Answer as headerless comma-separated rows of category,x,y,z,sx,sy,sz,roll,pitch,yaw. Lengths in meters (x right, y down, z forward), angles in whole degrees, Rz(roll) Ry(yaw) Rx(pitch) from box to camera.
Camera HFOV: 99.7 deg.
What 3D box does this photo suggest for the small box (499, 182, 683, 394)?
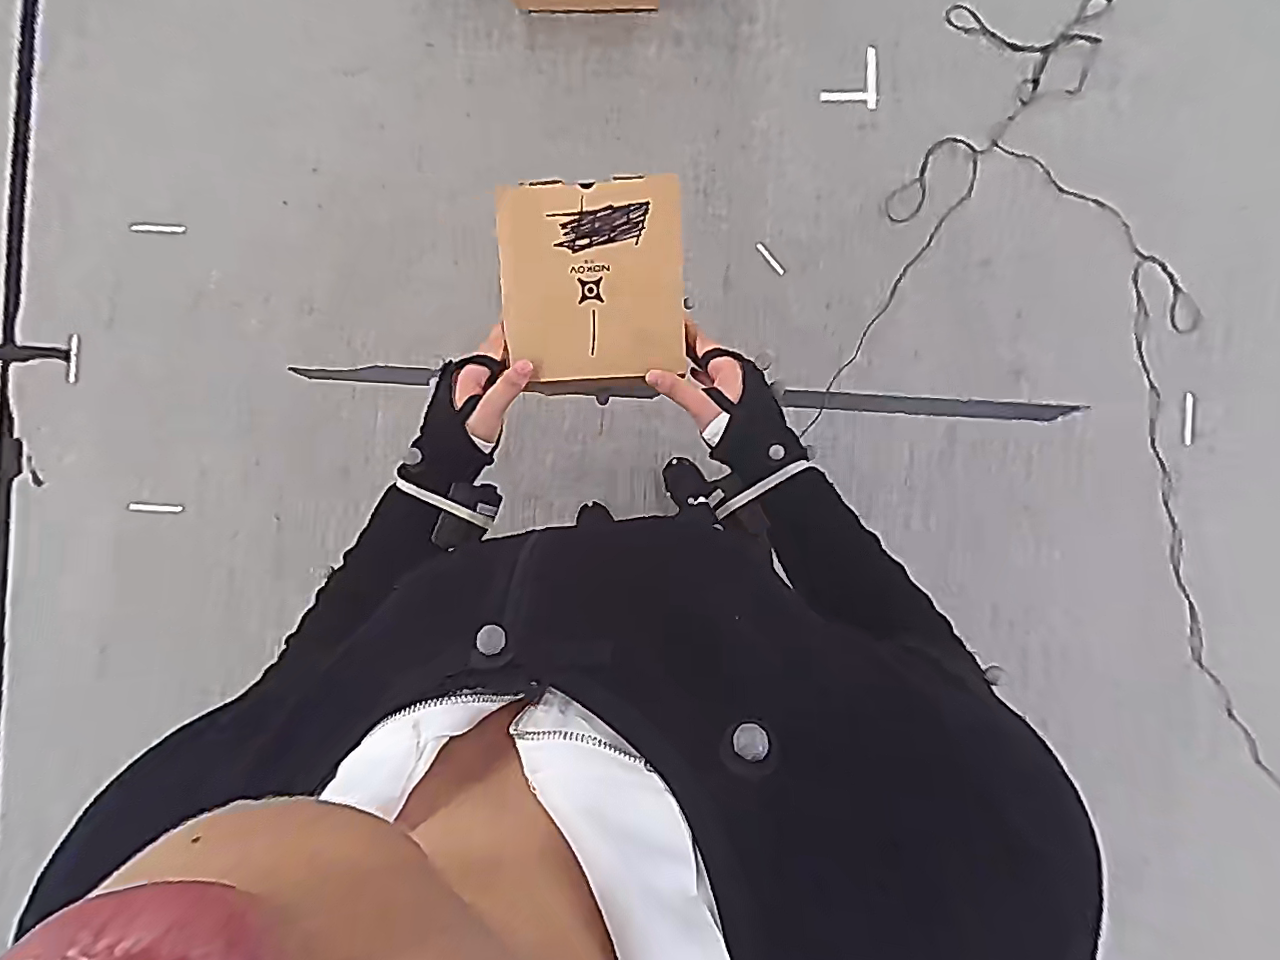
small box,-0.043,-0.185,0.567,0.168,0.176,0.179,-2,96,2
